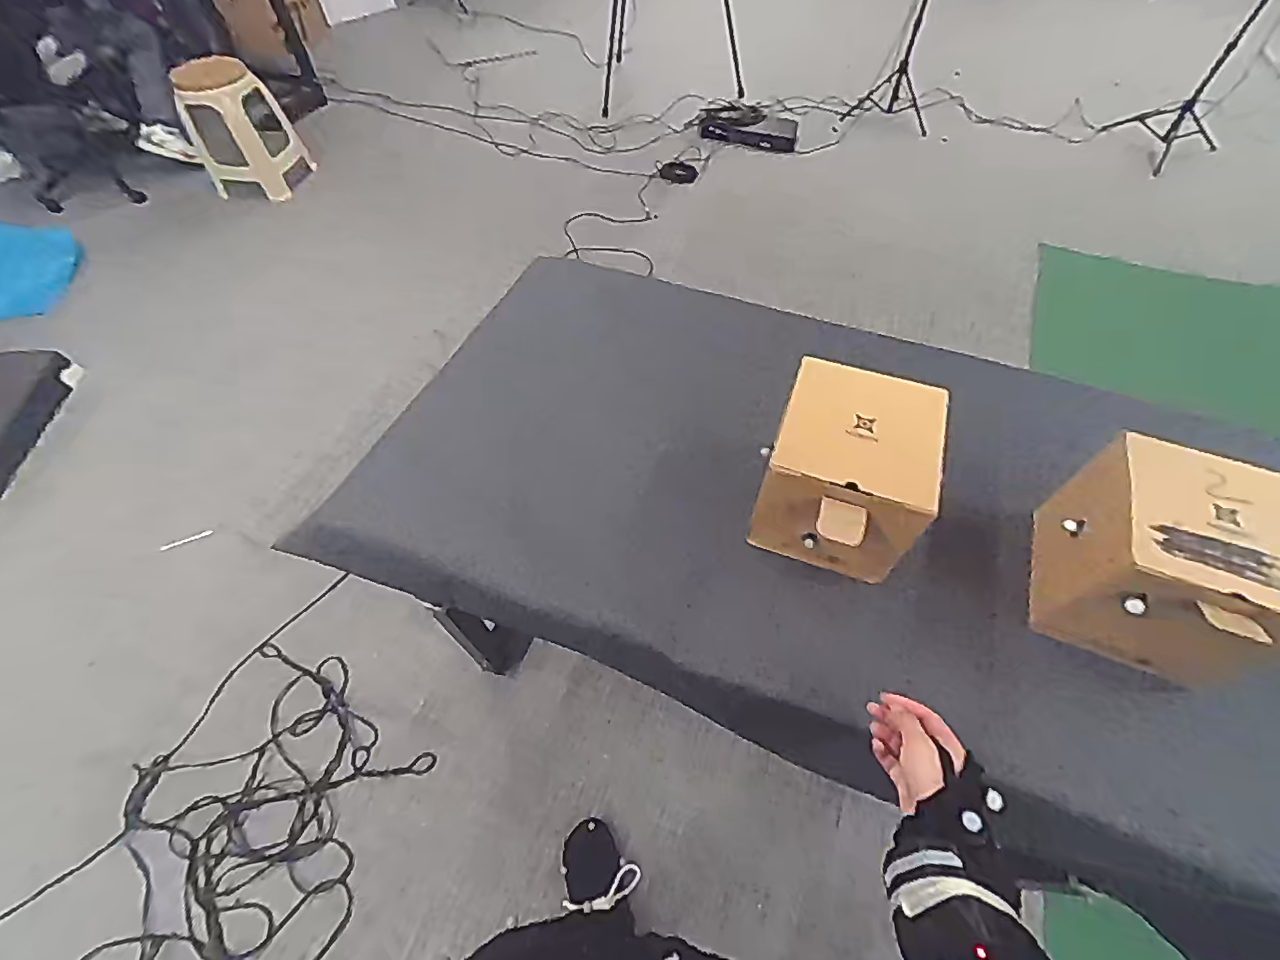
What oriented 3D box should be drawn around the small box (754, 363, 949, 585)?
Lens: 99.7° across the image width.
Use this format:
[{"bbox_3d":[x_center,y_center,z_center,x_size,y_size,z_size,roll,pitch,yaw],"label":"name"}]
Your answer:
[{"bbox_3d":[0.244,-0.004,0.647,0.168,0.176,0.179,17,57,12],"label":"small box"}]
